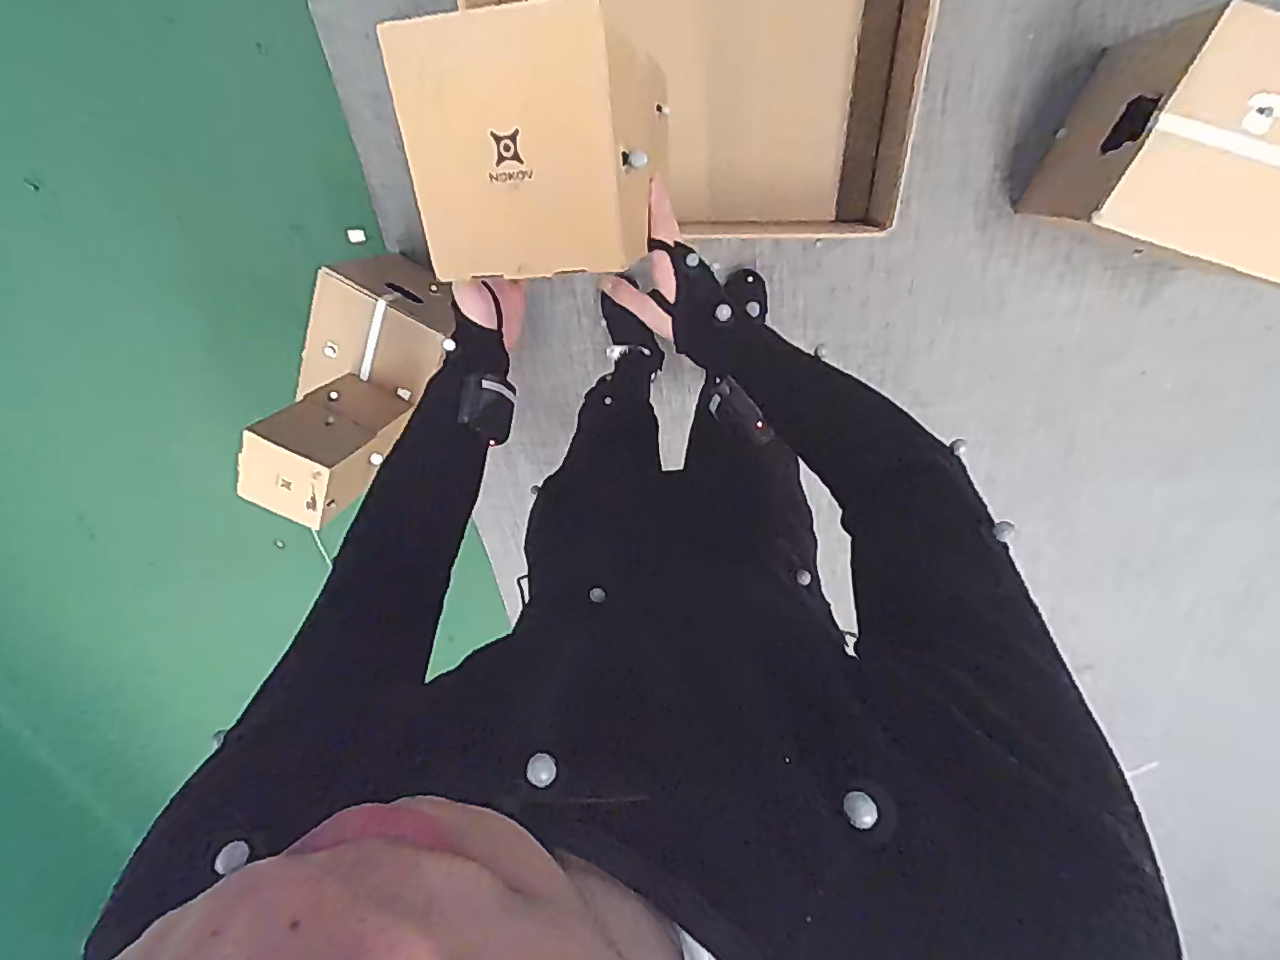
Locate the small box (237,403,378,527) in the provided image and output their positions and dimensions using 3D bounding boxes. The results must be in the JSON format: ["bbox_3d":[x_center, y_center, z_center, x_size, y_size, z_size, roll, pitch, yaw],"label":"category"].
[{"bbox_3d":[-0.682,-0.039,1.118,0.179,0.176,0.168,27,120,-6],"label":"small box"}]

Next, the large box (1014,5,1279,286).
[{"bbox_3d":[1.026,-0.588,0.993,0.408,0.320,0.320,18,120,1],"label":"large box"}]

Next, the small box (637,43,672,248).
[{"bbox_3d":[-0.054,-0.368,0.617,0.168,0.176,0.179,2,121,9],"label":"small box"}]

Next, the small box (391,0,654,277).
[{"bbox_3d":[-0.081,-0.287,0.479,0.168,0.176,0.179,1,121,9],"label":"small box"}]

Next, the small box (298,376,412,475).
[{"bbox_3d":[-0.668,-0.123,1.259,0.179,0.176,0.168,27,120,-7],"label":"small box"}]
